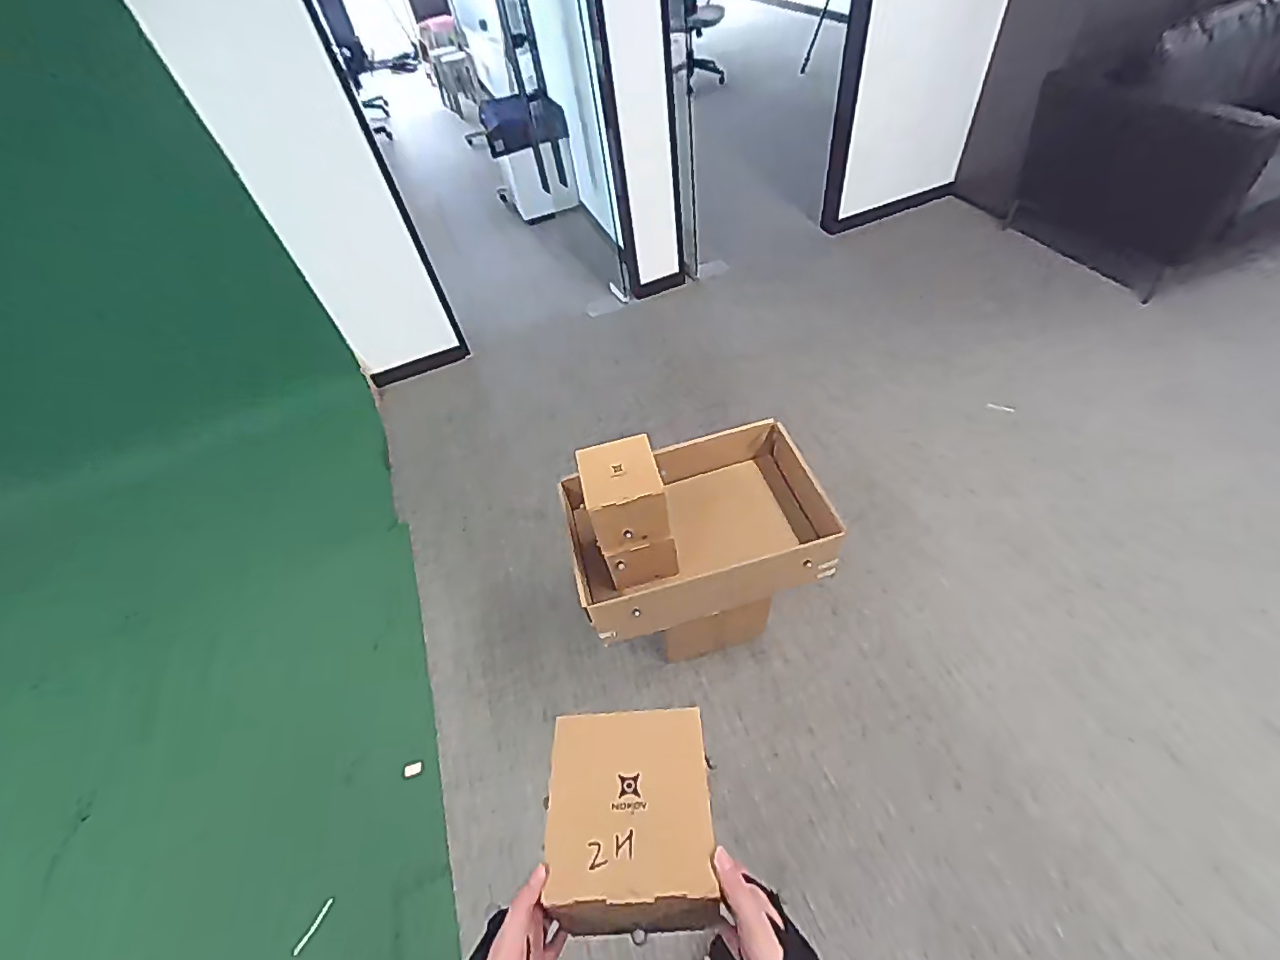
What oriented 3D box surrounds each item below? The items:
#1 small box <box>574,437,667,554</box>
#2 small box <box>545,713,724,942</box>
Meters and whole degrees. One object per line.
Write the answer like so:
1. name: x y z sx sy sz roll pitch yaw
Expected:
1. small box: -0.041 0.036 1.198 0.168 0.176 0.179 -14 51 -4
2. small box: -0.002 0.385 0.602 0.168 0.176 0.179 -4 42 2
